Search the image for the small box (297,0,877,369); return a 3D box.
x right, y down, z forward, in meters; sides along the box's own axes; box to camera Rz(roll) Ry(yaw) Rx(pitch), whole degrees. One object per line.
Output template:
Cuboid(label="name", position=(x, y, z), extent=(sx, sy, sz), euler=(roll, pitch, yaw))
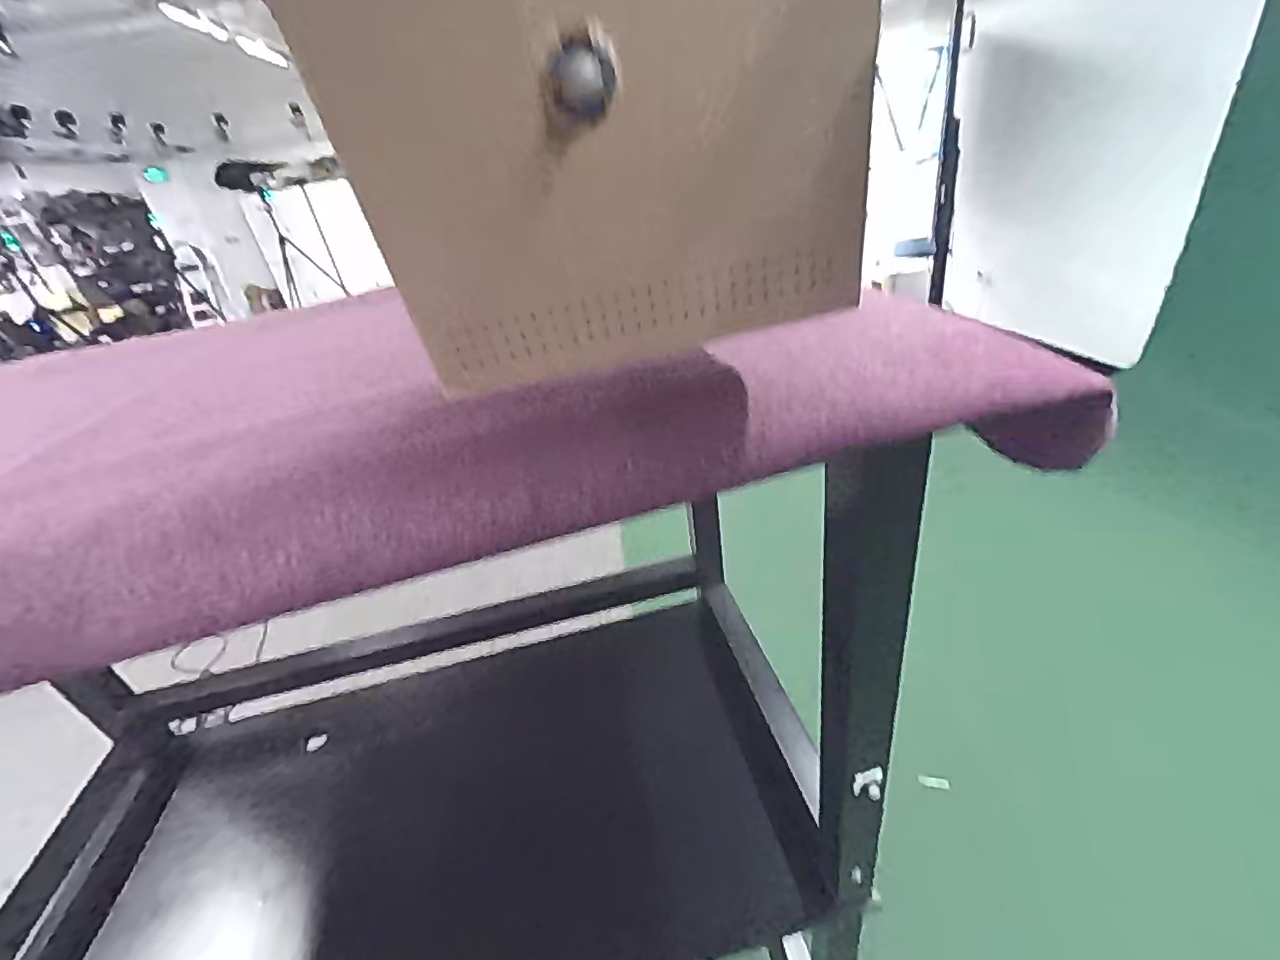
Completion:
Cuboid(label="small box", position=(-0.015, -0.170, 0.235), extent=(0.179, 0.176, 0.168), euler=(-14, 37, 0))
